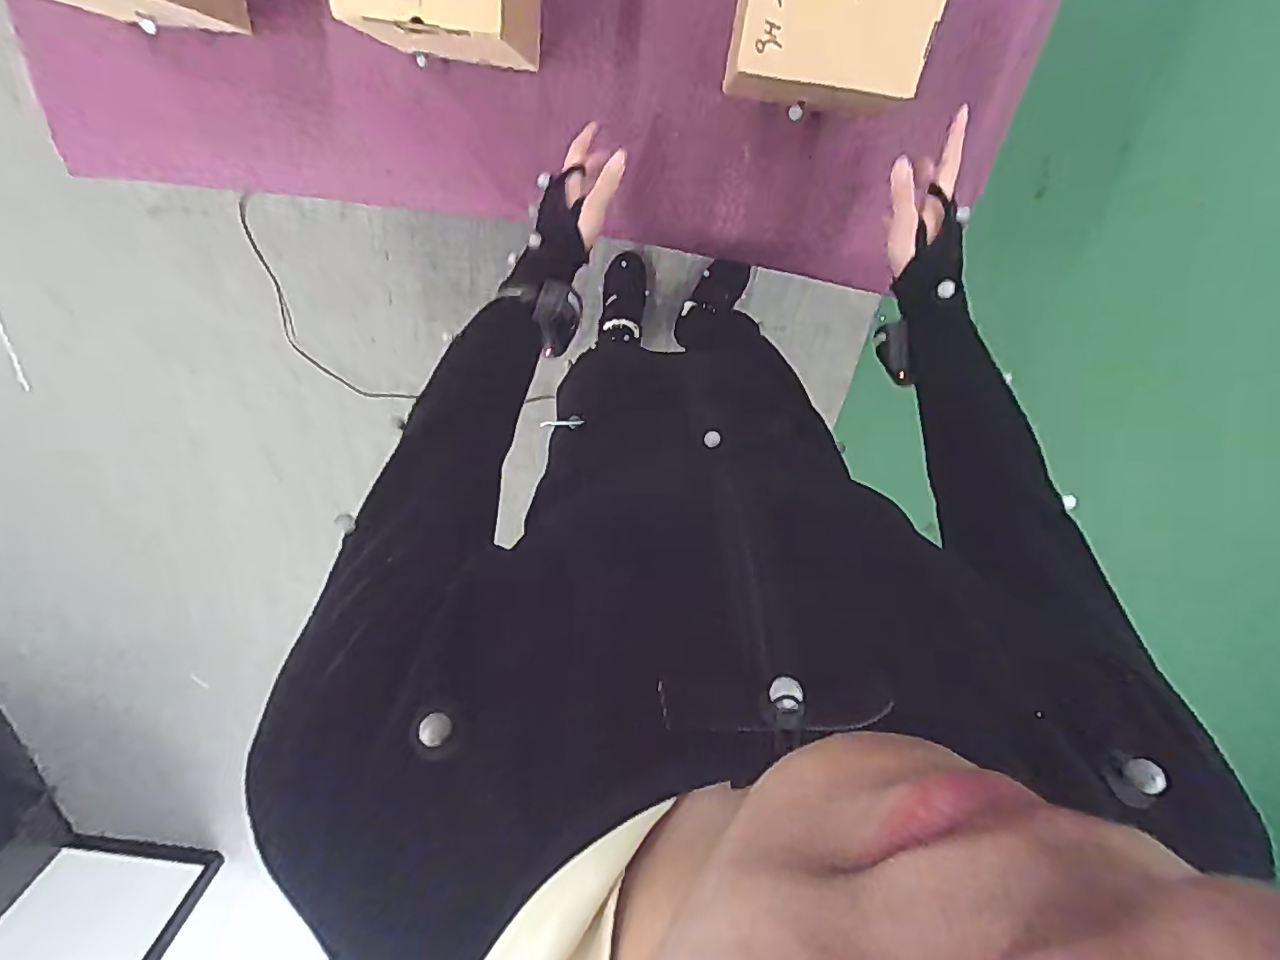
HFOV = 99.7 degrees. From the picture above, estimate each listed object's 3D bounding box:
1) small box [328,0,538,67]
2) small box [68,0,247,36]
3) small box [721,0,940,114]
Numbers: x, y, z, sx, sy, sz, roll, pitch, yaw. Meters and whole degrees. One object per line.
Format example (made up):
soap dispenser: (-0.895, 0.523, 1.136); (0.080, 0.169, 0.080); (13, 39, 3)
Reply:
small box: (-0.198, -0.541, 0.541); (0.168, 0.176, 0.179); (7, 118, -1)
small box: (-0.543, -0.582, 0.539); (0.168, 0.176, 0.179); (6, 119, 0)
small box: (0.188, -0.485, 0.547); (0.179, 0.176, 0.168); (9, 119, -1)
